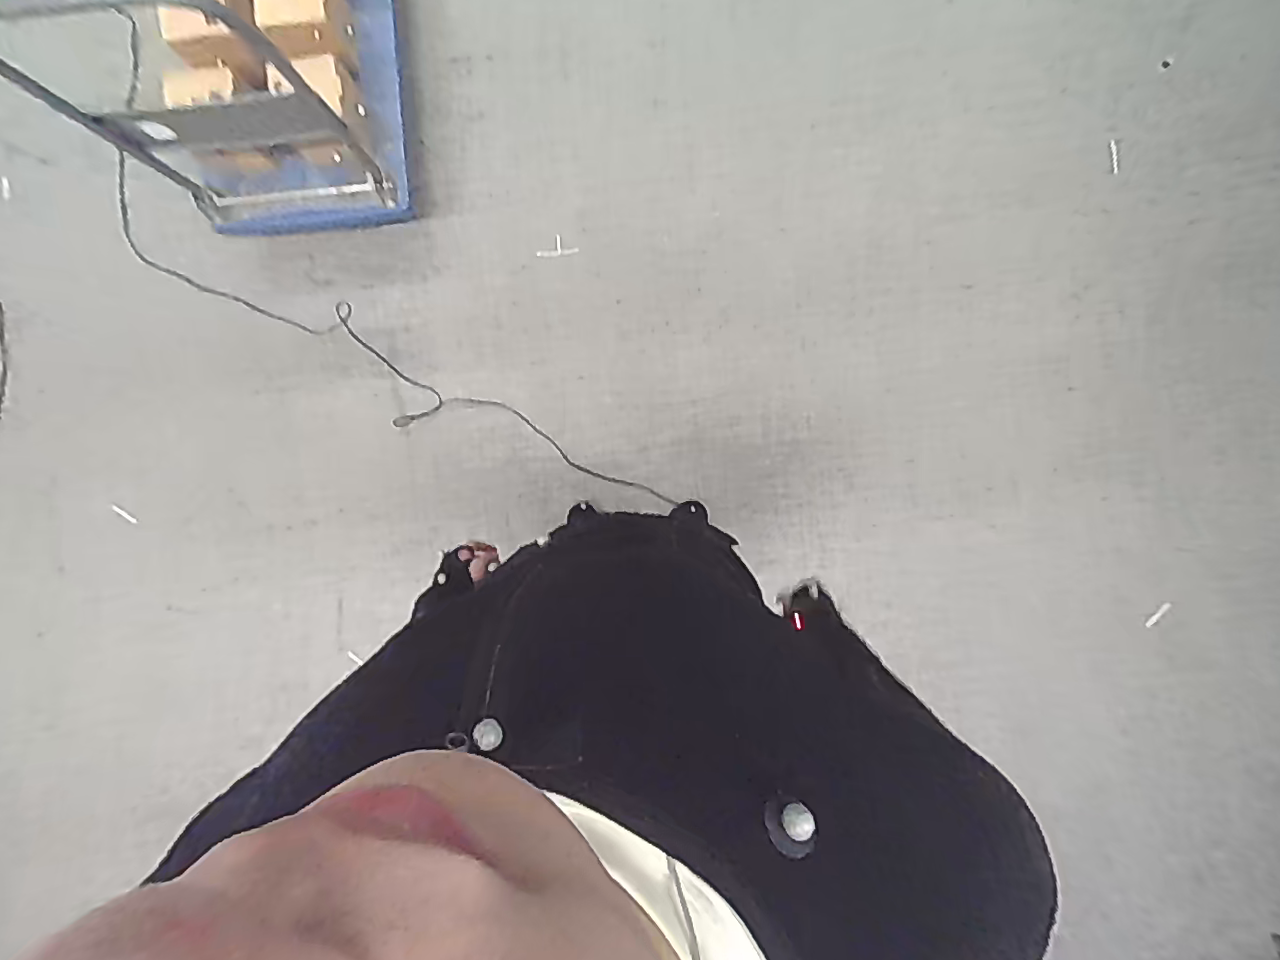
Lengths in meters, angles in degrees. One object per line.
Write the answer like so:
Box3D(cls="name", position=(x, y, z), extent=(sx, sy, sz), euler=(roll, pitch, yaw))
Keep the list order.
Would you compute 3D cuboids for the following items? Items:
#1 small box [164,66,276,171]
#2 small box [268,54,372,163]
Box3D(cls="small box", position=(-1.088, -0.939, 1.417), extent=(0.179, 0.176, 0.168), euler=(-3, 88, 1))
Box3D(cls="small box", position=(-0.826, -0.964, 1.415), extent=(0.179, 0.176, 0.168), euler=(-7, 89, 0))
